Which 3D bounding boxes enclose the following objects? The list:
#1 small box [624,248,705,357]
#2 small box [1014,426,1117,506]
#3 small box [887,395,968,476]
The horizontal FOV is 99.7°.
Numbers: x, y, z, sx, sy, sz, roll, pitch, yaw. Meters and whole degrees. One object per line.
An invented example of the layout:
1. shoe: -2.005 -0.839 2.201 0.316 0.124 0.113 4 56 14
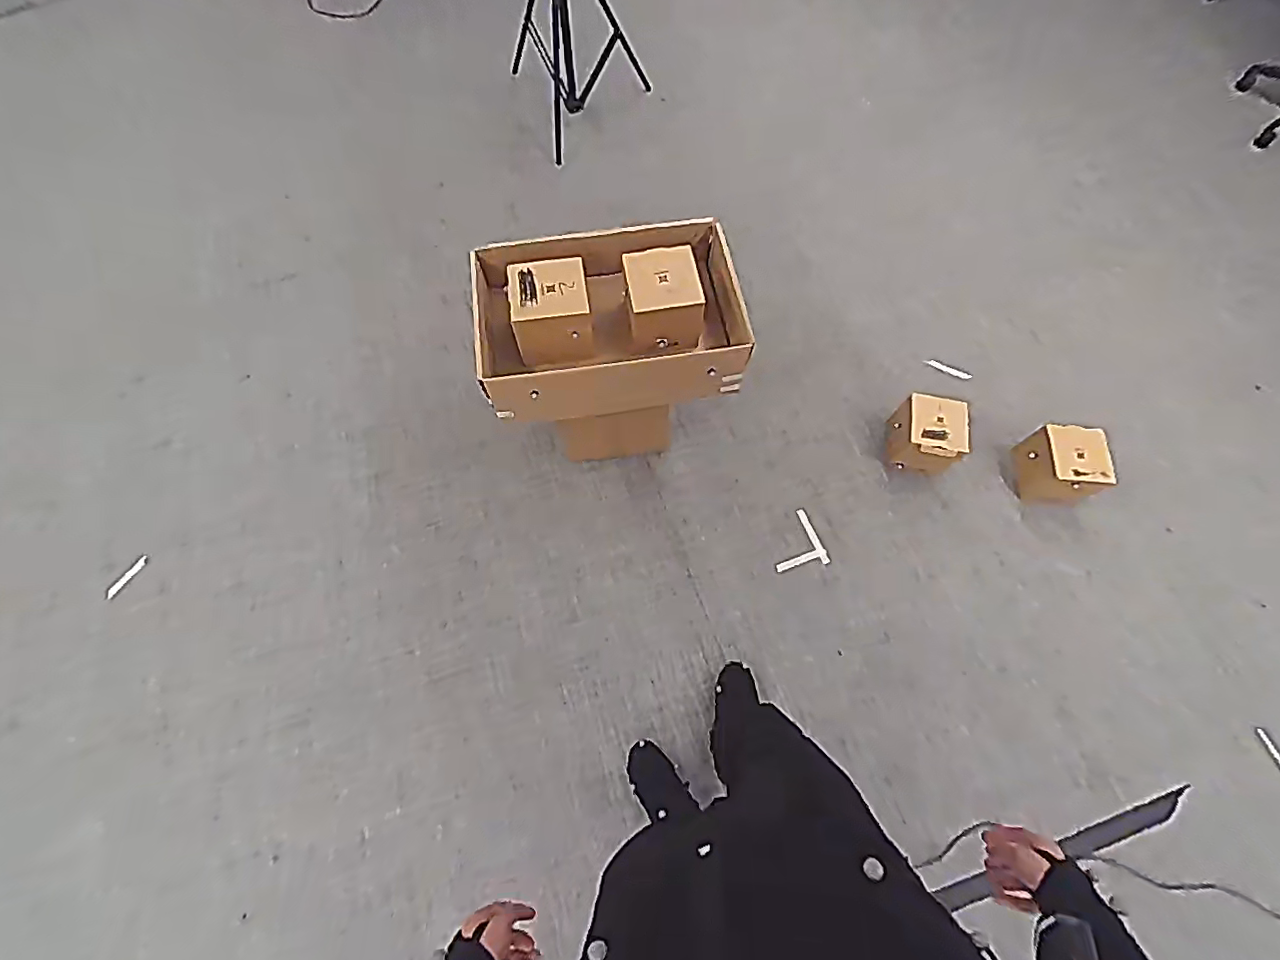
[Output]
1. small box: 0.054 -0.427 1.312 0.168 0.176 0.179 -9 66 -3
2. small box: 1.254 -0.038 1.610 0.168 0.176 0.179 5 66 2
3. small box: 0.870 -0.130 1.646 0.168 0.176 0.179 12 68 4
